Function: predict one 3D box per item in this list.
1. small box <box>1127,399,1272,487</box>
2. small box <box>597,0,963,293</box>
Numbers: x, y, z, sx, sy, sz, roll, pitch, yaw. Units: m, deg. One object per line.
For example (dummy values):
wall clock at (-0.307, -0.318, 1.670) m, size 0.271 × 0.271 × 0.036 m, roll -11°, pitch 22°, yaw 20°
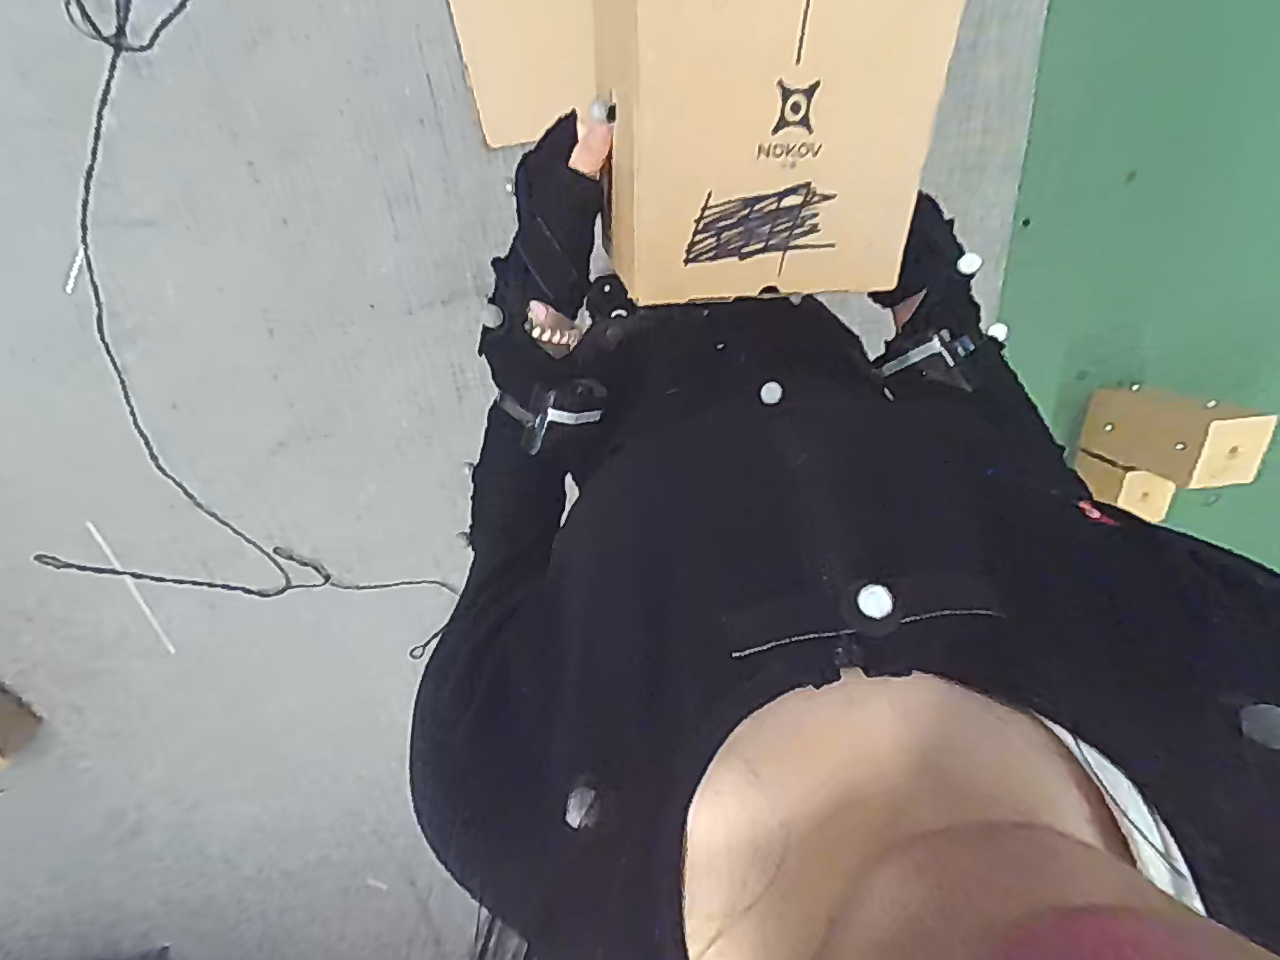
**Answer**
small box at (1.390, -0.100, 1.360) m, size 0.168 × 0.176 × 0.179 m, roll -5°, pitch 115°, yaw -2°
small box at (0.064, -0.234, 0.348) m, size 0.168 × 0.176 × 0.179 m, roll -6°, pitch 124°, yaw -8°
